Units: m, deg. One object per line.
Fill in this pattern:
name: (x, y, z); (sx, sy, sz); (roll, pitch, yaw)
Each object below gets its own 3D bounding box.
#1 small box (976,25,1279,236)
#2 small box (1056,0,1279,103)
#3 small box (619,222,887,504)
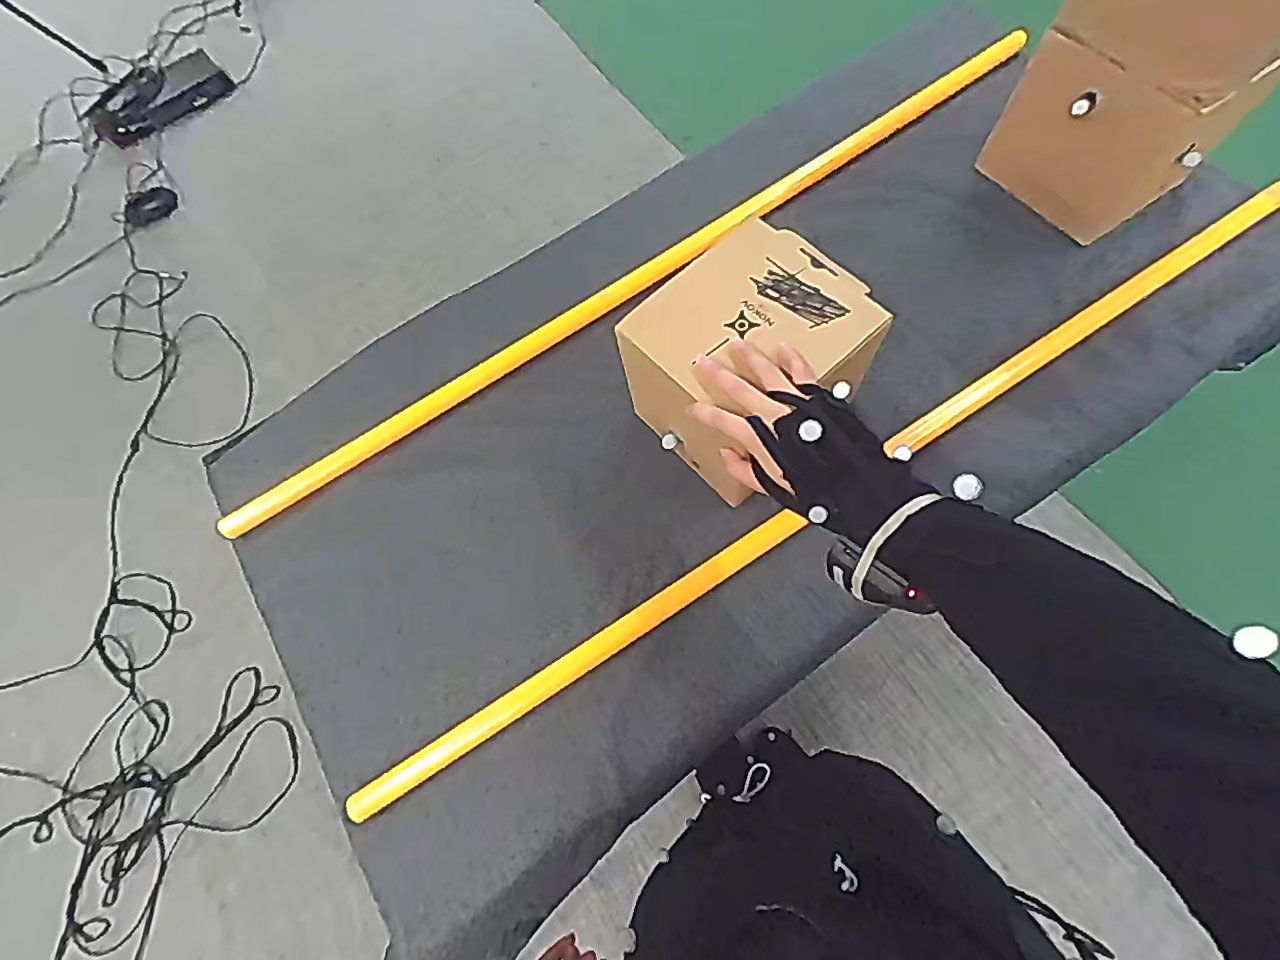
small box: (0.534, -0.409, 0.607); (0.168, 0.176, 0.179); (-34, 69, -6)
small box: (0.518, -0.471, 0.458); (0.168, 0.176, 0.179); (-36, 69, -5)
small box: (0.103, -0.106, 0.542); (0.179, 0.176, 0.168); (-41, 70, -9)
